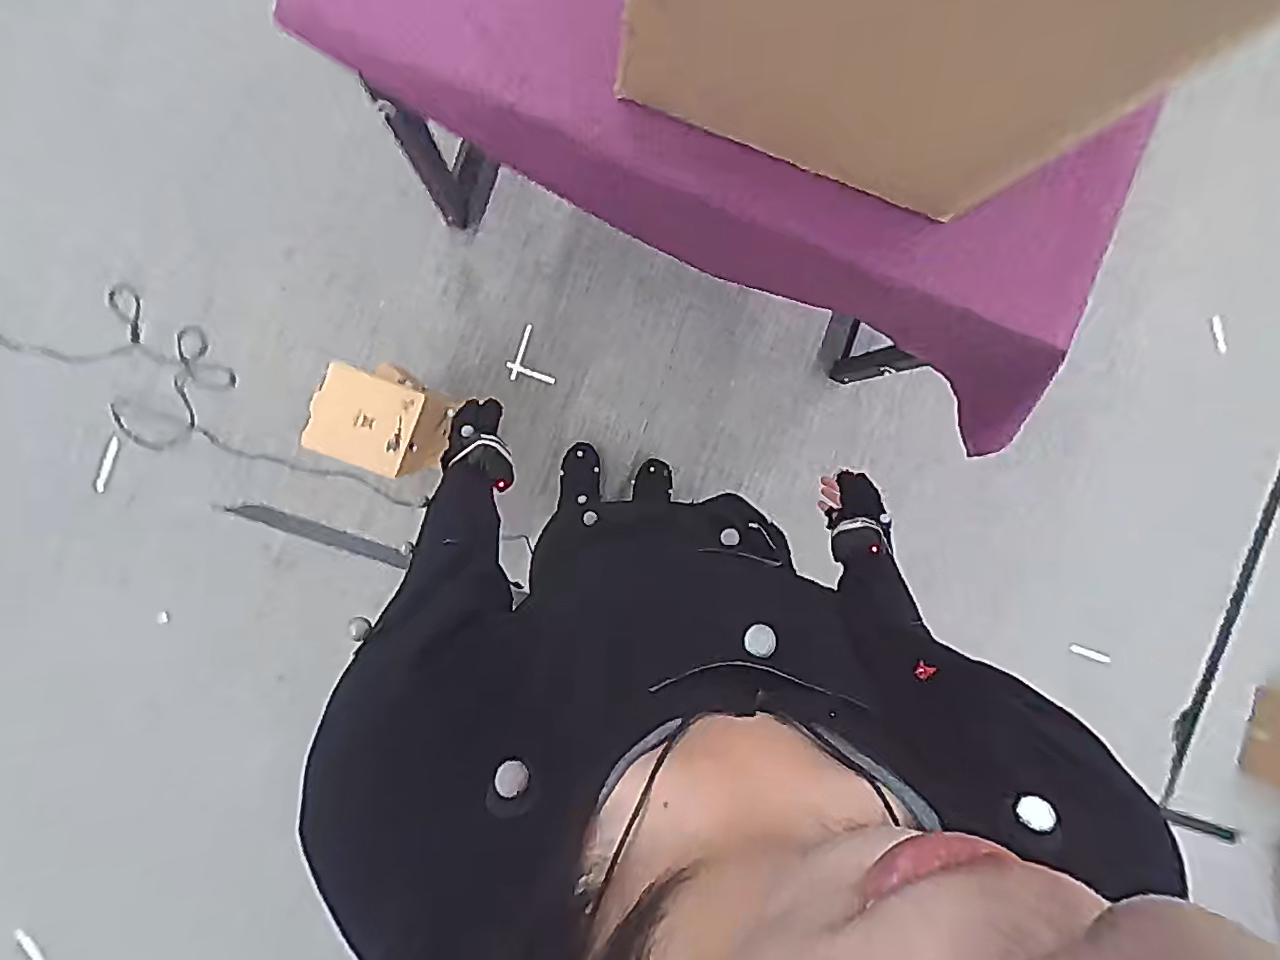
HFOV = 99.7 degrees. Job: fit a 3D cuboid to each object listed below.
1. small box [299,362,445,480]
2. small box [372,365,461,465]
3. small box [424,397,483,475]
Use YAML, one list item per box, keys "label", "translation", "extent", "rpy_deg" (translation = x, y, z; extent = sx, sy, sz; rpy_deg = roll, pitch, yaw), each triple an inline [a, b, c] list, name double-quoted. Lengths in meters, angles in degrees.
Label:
- label: "small box"
  translation: [-0.504, -0.108, 1.042]
  extent: [0.179, 0.176, 0.168]
  rpy_deg: [21, 91, -7]
- label: "small box"
  translation: [-0.529, -0.128, 1.203]
  extent: [0.179, 0.176, 0.168]
  rpy_deg: [40, 88, -6]
- label: "small box"
  translation: [-0.520, -0.120, 1.367]
  extent: [0.179, 0.176, 0.168]
  rpy_deg: [22, 91, -7]
